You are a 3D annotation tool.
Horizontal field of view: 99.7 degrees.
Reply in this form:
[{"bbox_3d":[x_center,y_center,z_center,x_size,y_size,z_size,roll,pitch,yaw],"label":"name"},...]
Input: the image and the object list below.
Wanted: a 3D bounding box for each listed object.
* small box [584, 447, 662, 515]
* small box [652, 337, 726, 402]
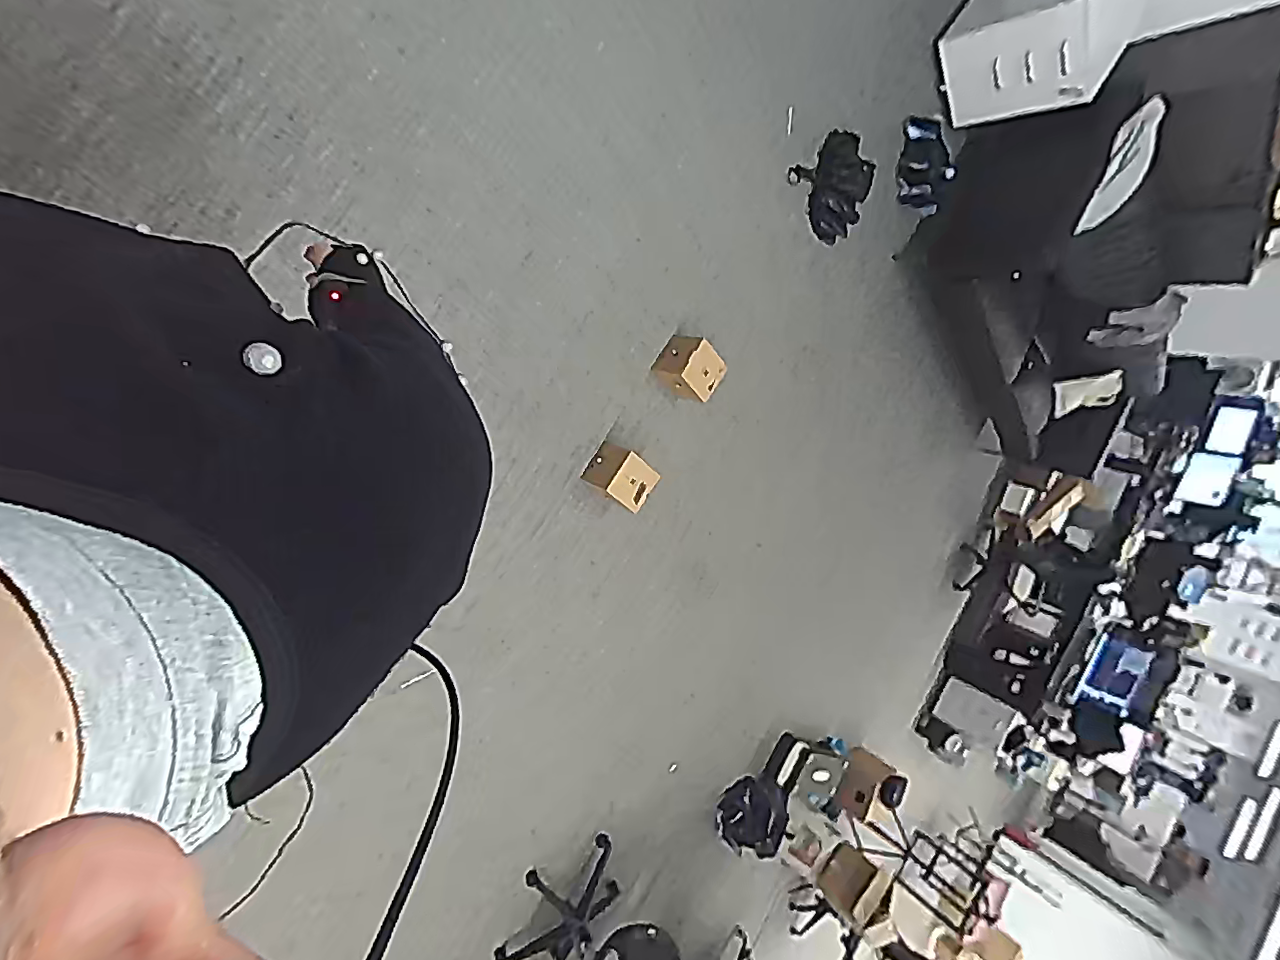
[{"bbox_3d":[-0.063,-0.003,1.924,0.179,0.176,0.168,39,78,-38],"label":"small box"},{"bbox_3d":[0.177,-0.409,1.992,0.179,0.176,0.168,39,79,-40],"label":"small box"}]
